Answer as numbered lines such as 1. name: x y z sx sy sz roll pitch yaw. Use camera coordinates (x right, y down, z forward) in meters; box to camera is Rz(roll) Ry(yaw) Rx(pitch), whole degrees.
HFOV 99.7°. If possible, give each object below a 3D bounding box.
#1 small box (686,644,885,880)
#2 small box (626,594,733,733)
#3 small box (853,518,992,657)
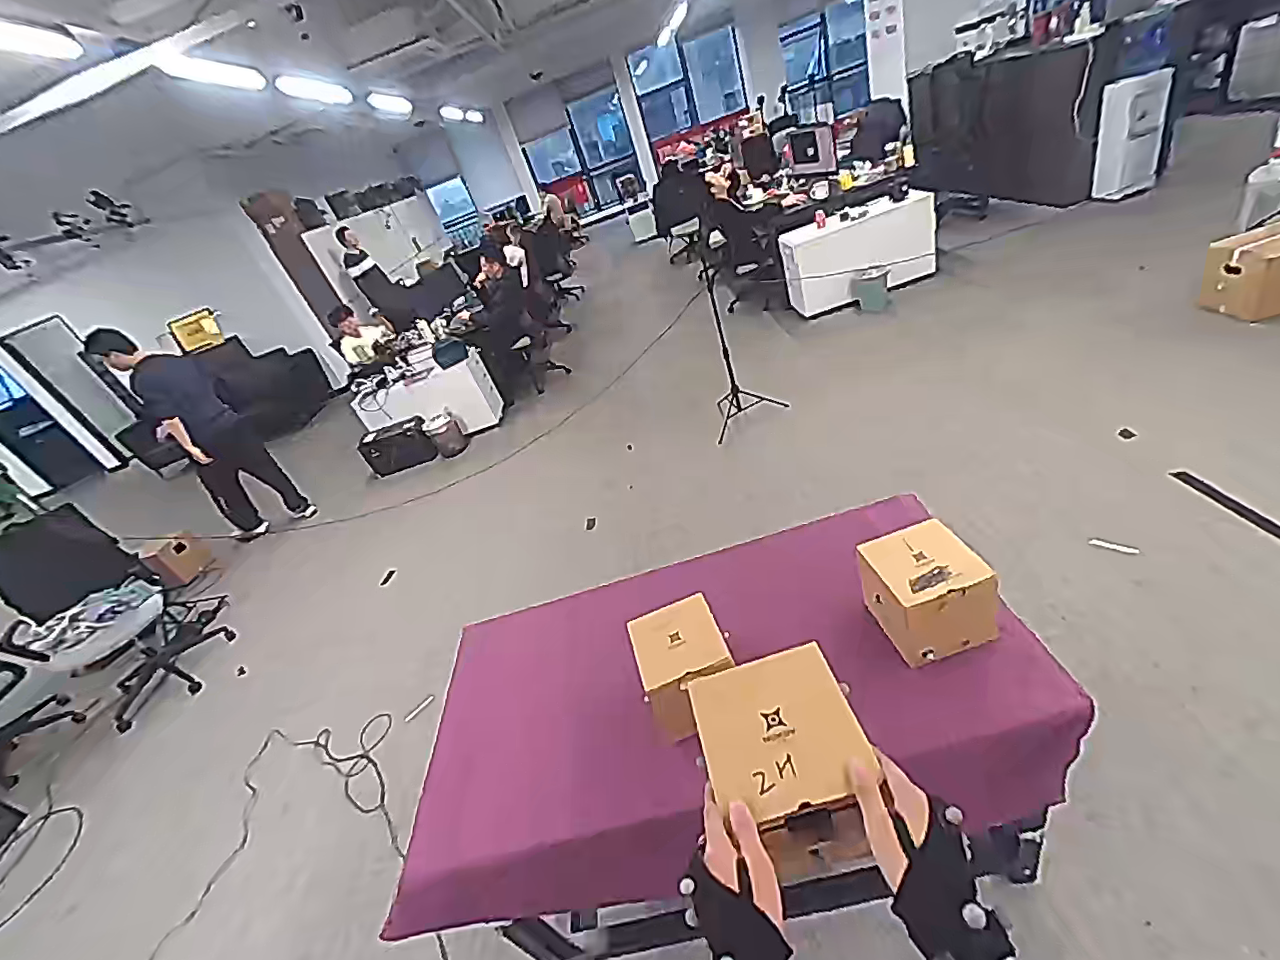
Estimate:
1. small box: 0.166 0.330 0.635 0.168 0.176 0.179 -19 40 3
2. small box: 0.090 0.363 1.055 0.168 0.176 0.179 -22 32 -1
3. small box: 0.529 0.207 1.017 0.168 0.176 0.179 -21 31 3
